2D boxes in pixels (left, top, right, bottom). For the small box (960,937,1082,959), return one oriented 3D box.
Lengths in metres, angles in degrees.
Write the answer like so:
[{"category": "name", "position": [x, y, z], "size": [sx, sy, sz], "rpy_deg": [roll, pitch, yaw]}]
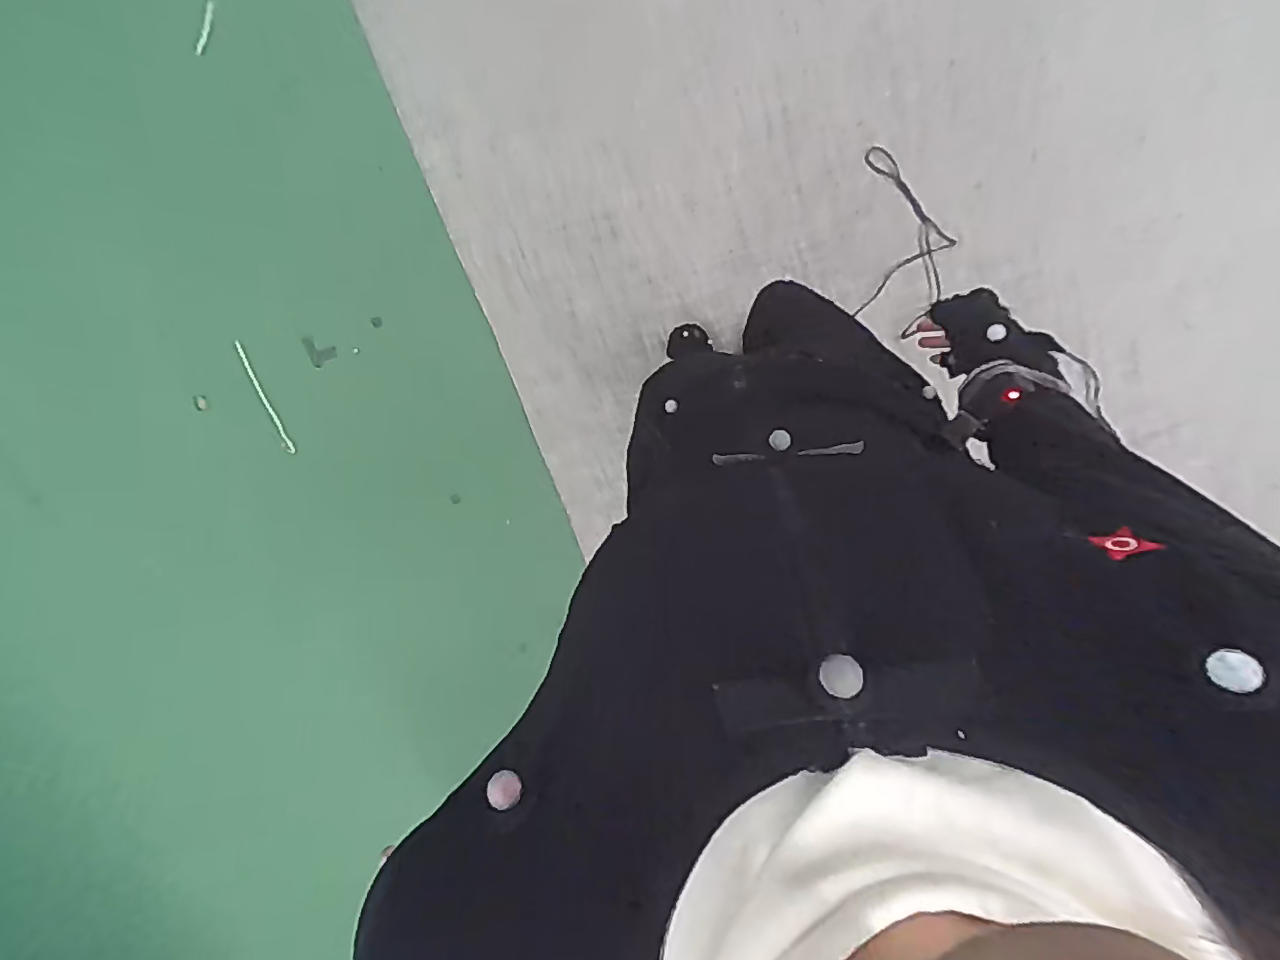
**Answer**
[{"category": "small box", "position": [0.640, 0.860, 0.841], "size": [0.179, 0.176, 0.168], "rpy_deg": [-20, 104, 11]}]
